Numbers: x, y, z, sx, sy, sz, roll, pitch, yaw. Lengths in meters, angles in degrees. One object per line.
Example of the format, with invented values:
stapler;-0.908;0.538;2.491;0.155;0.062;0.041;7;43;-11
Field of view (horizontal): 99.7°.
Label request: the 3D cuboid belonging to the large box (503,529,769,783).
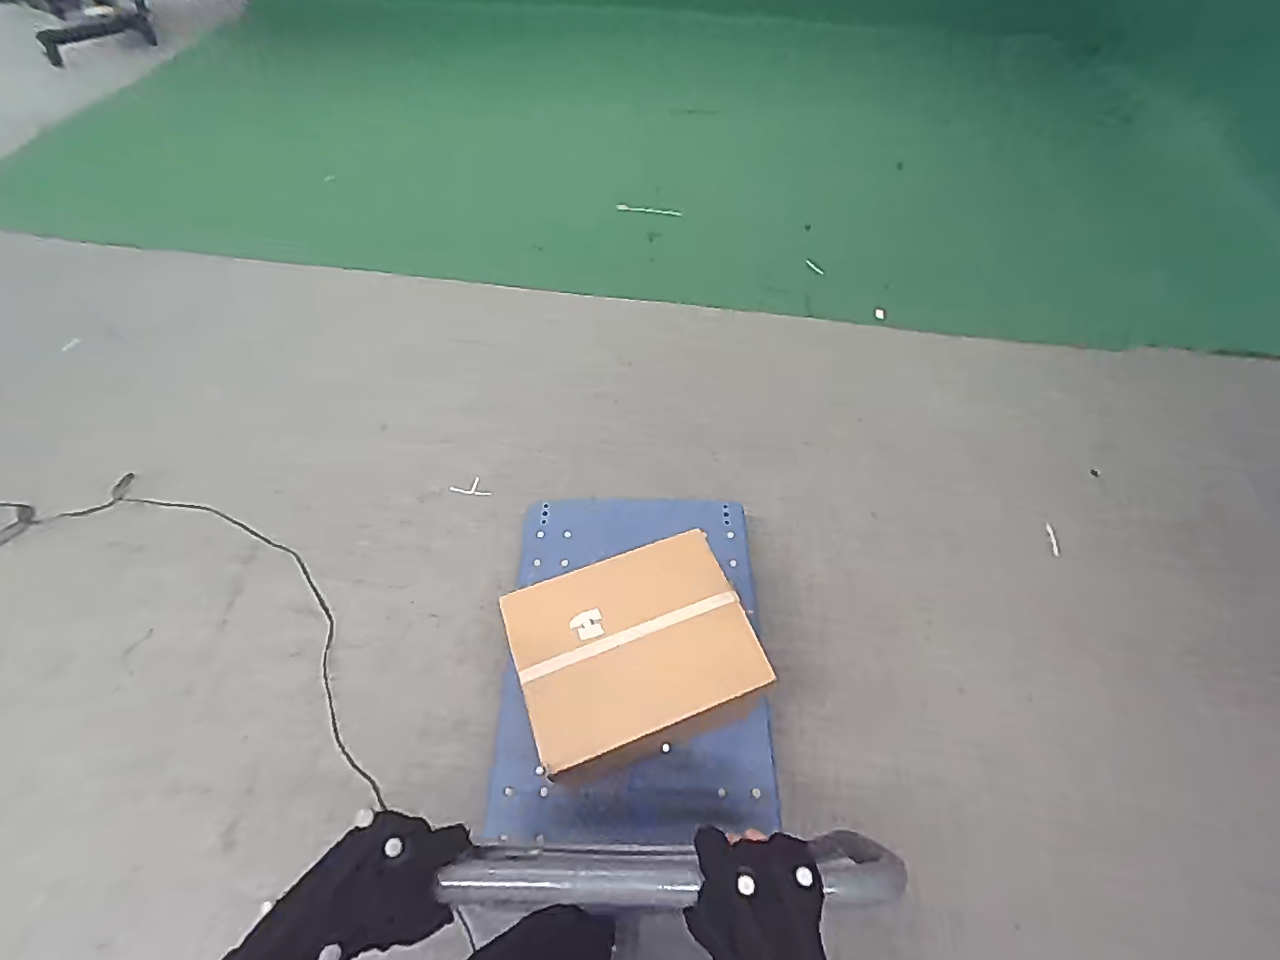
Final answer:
large box;-0.013;0.357;1.083;0.408;0.320;0.320;-19;58;-11
